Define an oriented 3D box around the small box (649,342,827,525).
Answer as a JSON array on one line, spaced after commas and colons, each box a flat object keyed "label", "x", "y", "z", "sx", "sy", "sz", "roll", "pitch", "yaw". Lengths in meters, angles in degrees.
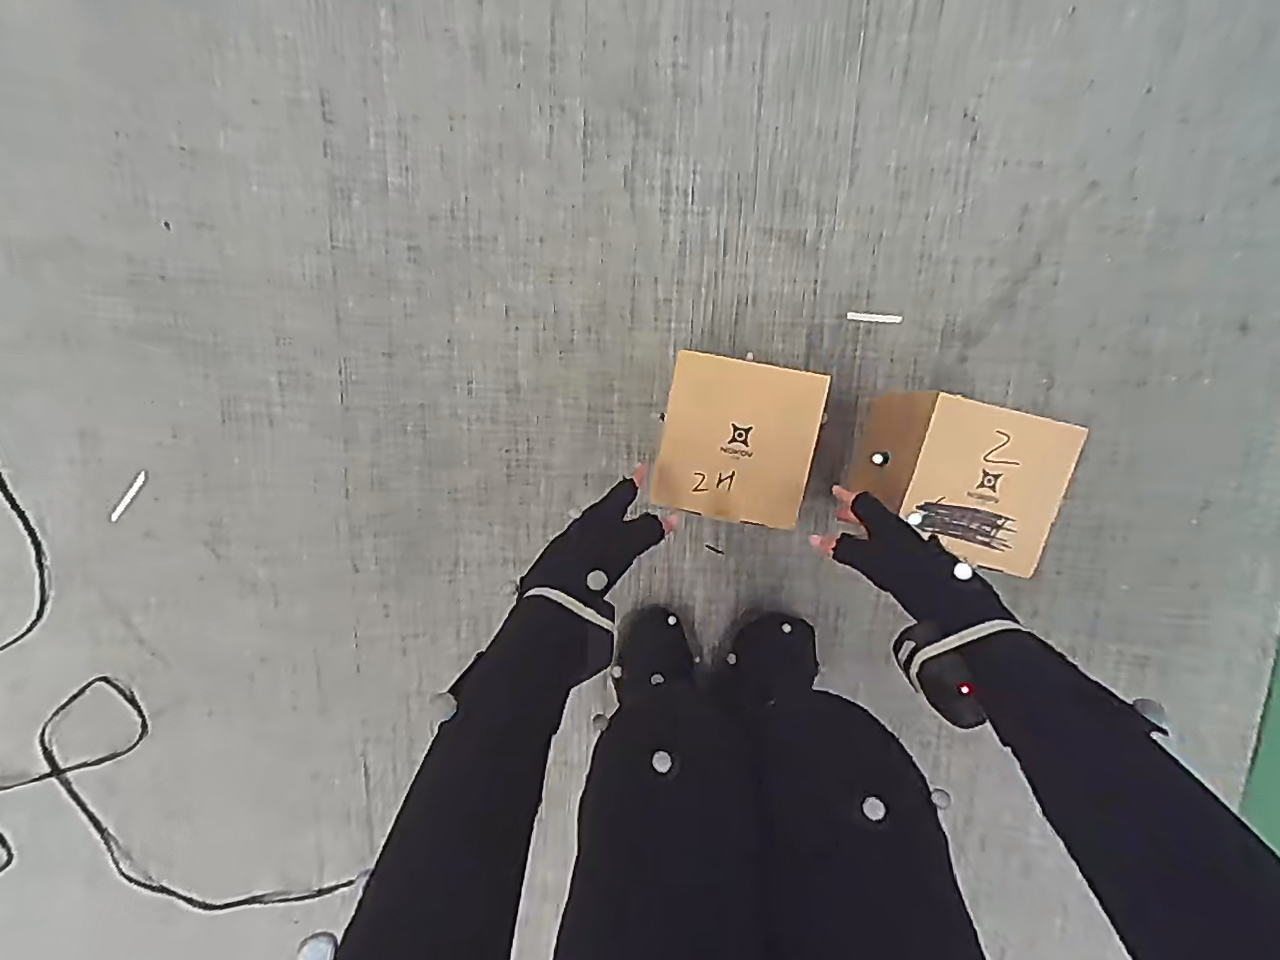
[{"label": "small box", "x": 0.108, "y": -0.062, "z": 0.665, "sx": 0.168, "sy": 0.176, "sz": 0.179, "roll": 11, "pitch": 101, "yaw": 2}]
